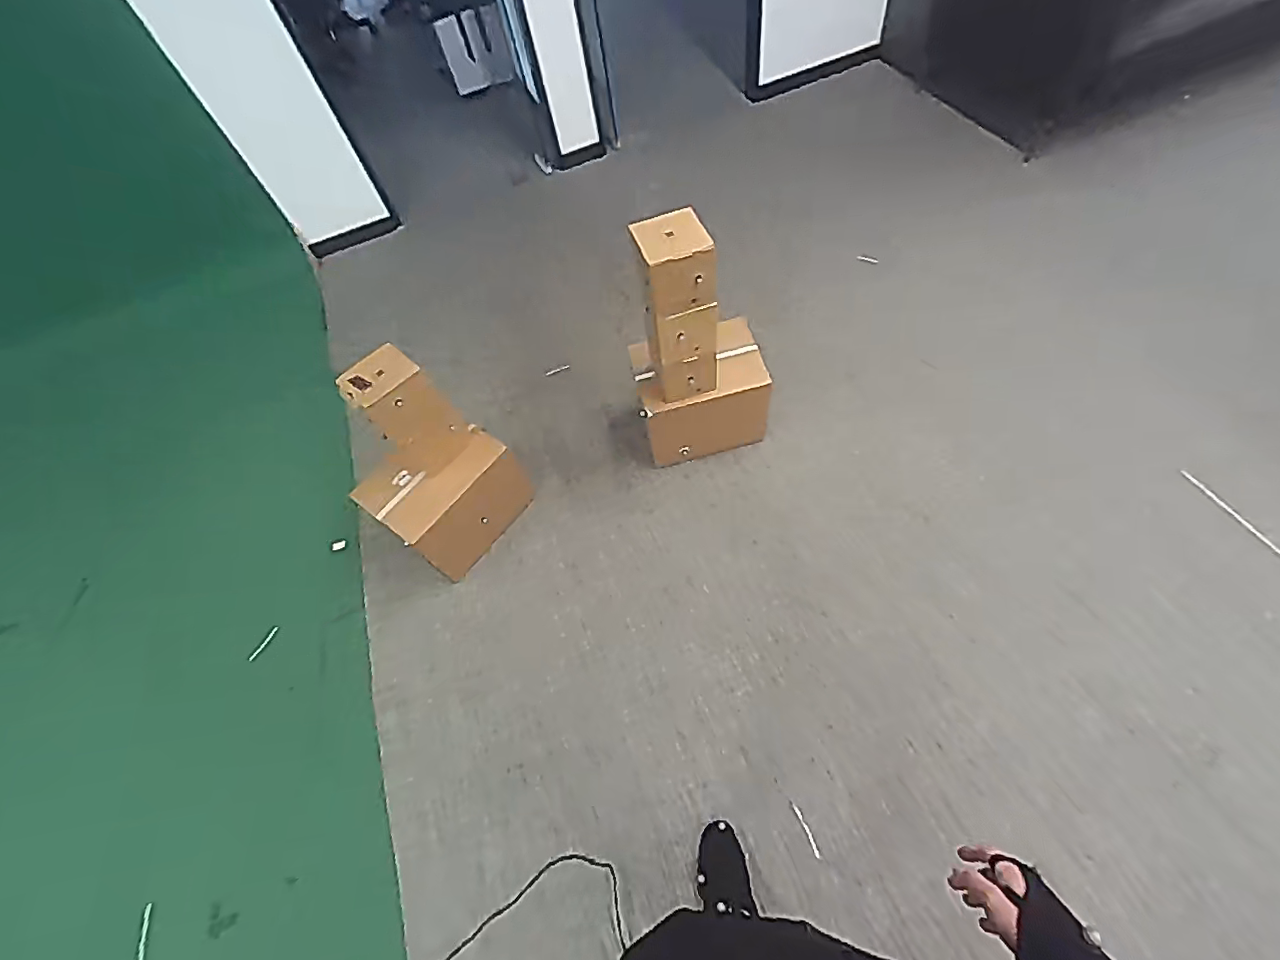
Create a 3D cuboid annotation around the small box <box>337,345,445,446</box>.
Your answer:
[{"bbox_3d":[-0.672,-0.226,1.477,0.168,0.176,0.179,36,69,26],"label":"small box"}]

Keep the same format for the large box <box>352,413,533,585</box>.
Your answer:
[{"bbox_3d":[-0.624,0.061,1.778,0.320,0.320,0.408,29,68,24],"label":"large box"}]

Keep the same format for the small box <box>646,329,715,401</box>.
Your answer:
[{"bbox_3d":[0.125,-0.360,1.637,0.168,0.176,0.179,-16,59,-2],"label":"small box"}]

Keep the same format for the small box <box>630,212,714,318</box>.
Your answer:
[{"bbox_3d":[0.084,-0.533,1.364,0.168,0.176,0.179,-18,56,-3],"label":"small box"}]

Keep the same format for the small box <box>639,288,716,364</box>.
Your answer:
[{"bbox_3d":[0.108,-0.444,1.499,0.168,0.176,0.179,-17,57,-2],"label":"small box"}]
